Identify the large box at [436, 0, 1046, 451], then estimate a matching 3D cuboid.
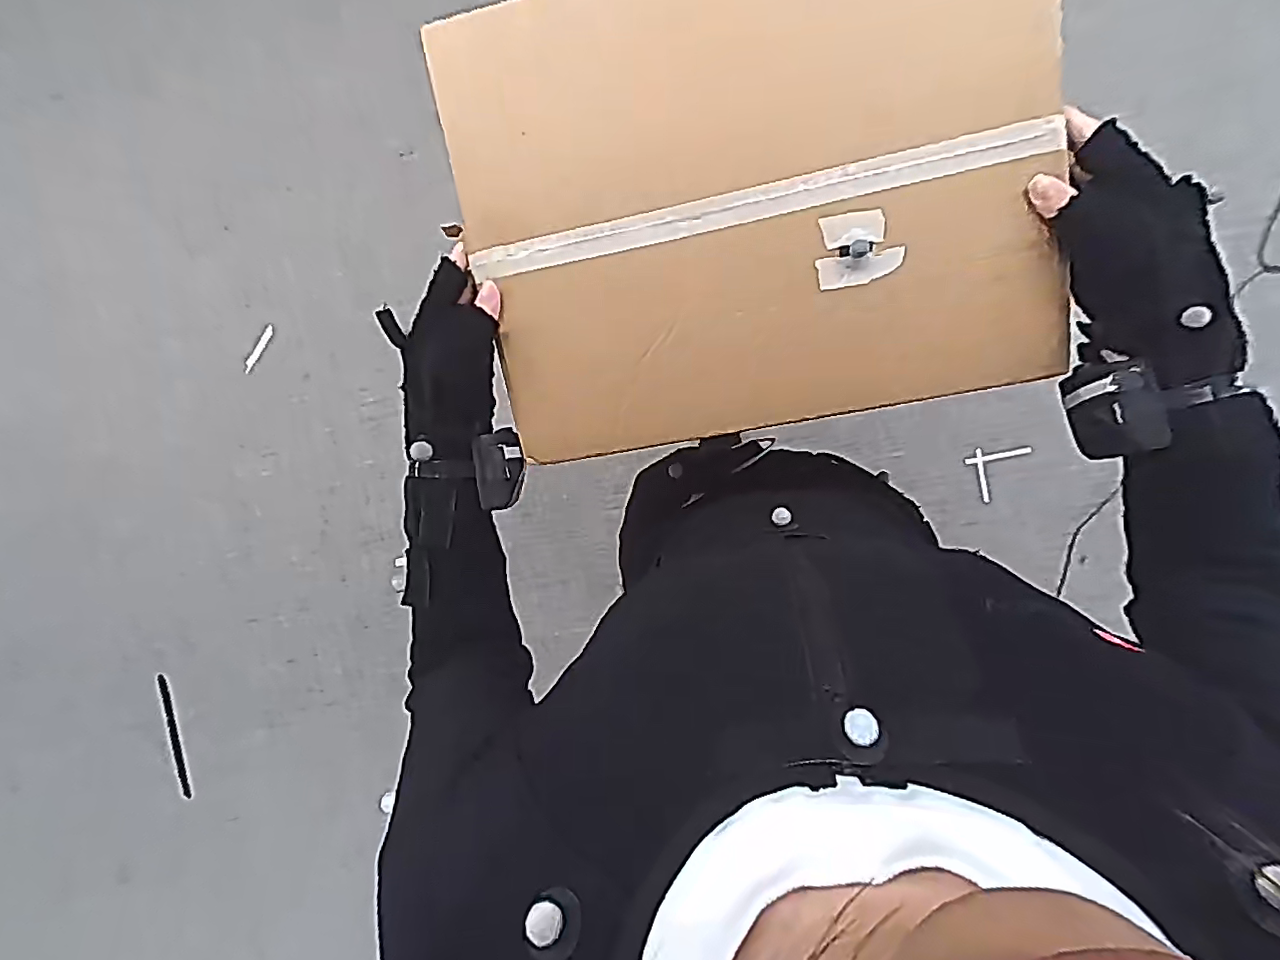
[{"bbox_3d":[0.086,-0.238,0.534,0.408,0.320,0.320,-10,104,6],"label":"large box"}]
